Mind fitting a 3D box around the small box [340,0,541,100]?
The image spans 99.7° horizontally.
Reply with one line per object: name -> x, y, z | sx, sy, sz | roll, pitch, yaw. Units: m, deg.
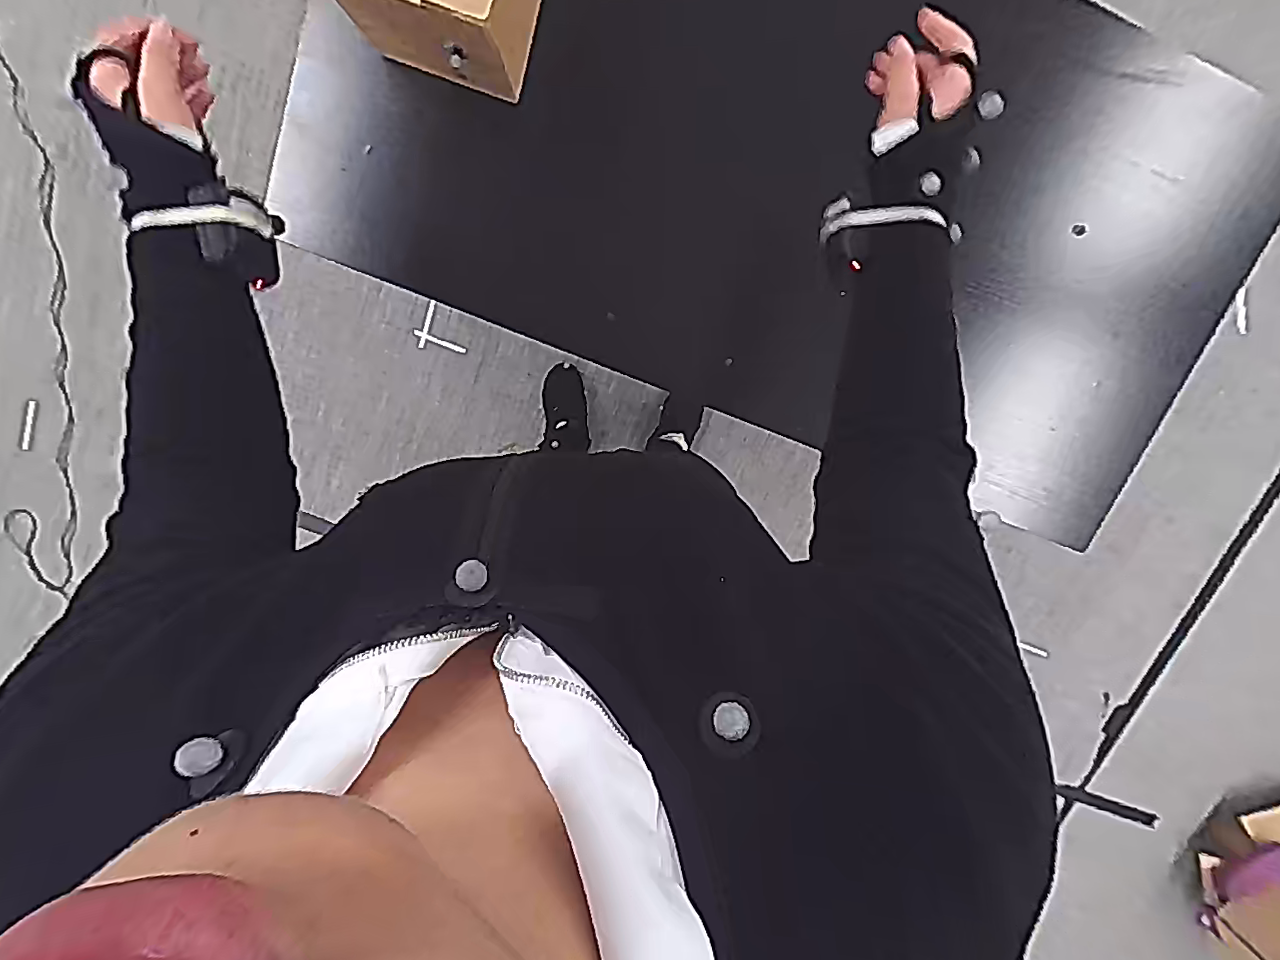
small box -> -0.190, -0.517, 0.525 | 0.168, 0.176, 0.179 | 16, 102, -8
